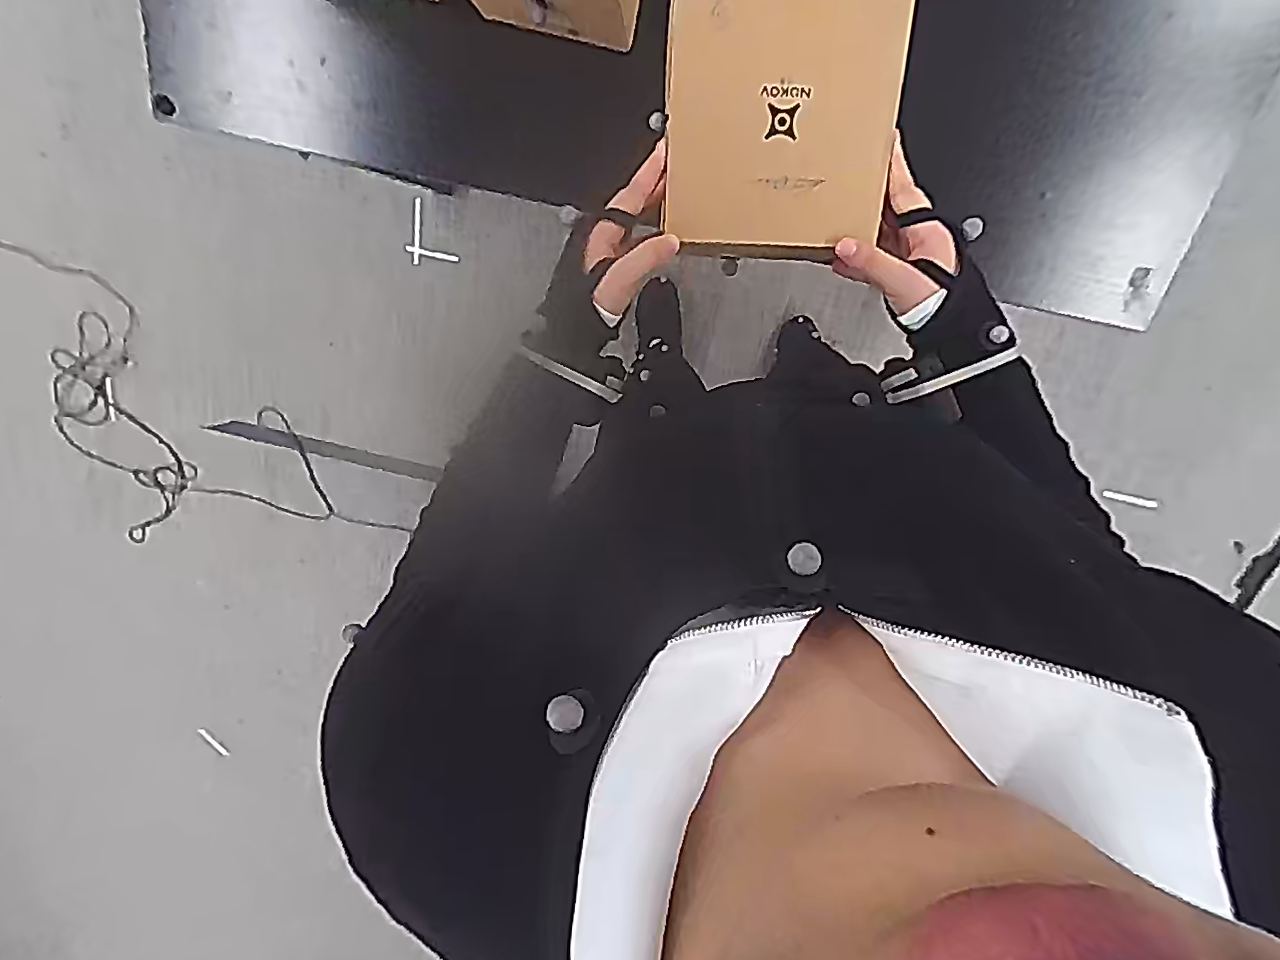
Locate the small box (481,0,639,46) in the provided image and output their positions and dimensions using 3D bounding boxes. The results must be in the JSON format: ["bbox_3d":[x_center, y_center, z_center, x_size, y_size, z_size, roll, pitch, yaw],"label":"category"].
[{"bbox_3d":[-0.078,-0.535,0.488,0.168,0.176,0.179,12,112,-1],"label":"small box"}]

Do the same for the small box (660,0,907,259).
[{"bbox_3d":[0.104,-0.296,0.475,0.168,0.176,0.179,2,110,1],"label":"small box"}]
